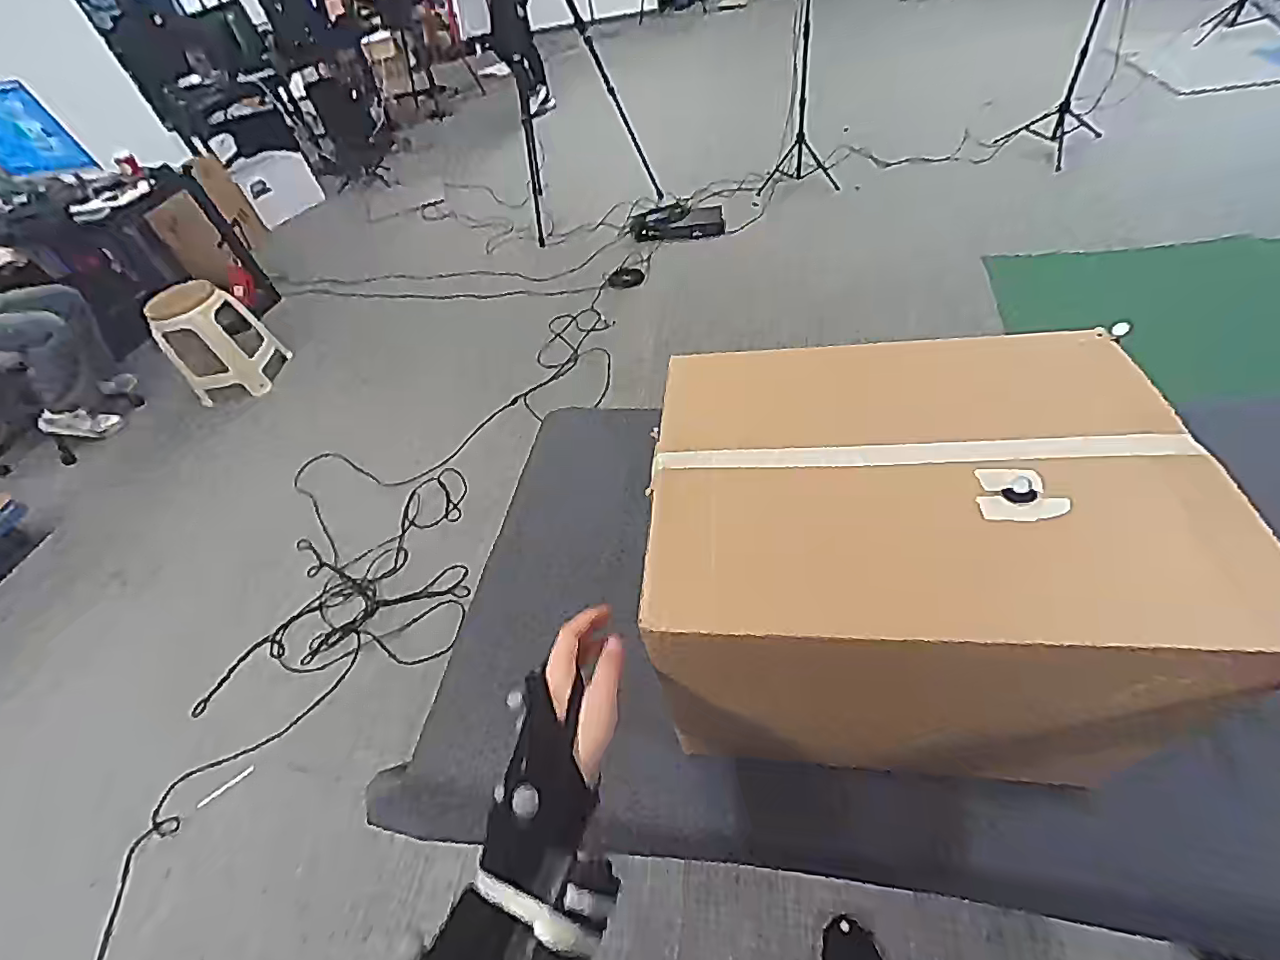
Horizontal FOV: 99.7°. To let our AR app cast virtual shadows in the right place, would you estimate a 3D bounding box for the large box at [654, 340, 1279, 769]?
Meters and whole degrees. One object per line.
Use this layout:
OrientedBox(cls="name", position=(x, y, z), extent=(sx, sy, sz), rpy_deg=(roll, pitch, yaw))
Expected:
OrientedBox(cls="large box", position=(0.235, 0.083, 0.559), extent=(0.408, 0.320, 0.320), rpy_deg=(-1, 50, 10))
